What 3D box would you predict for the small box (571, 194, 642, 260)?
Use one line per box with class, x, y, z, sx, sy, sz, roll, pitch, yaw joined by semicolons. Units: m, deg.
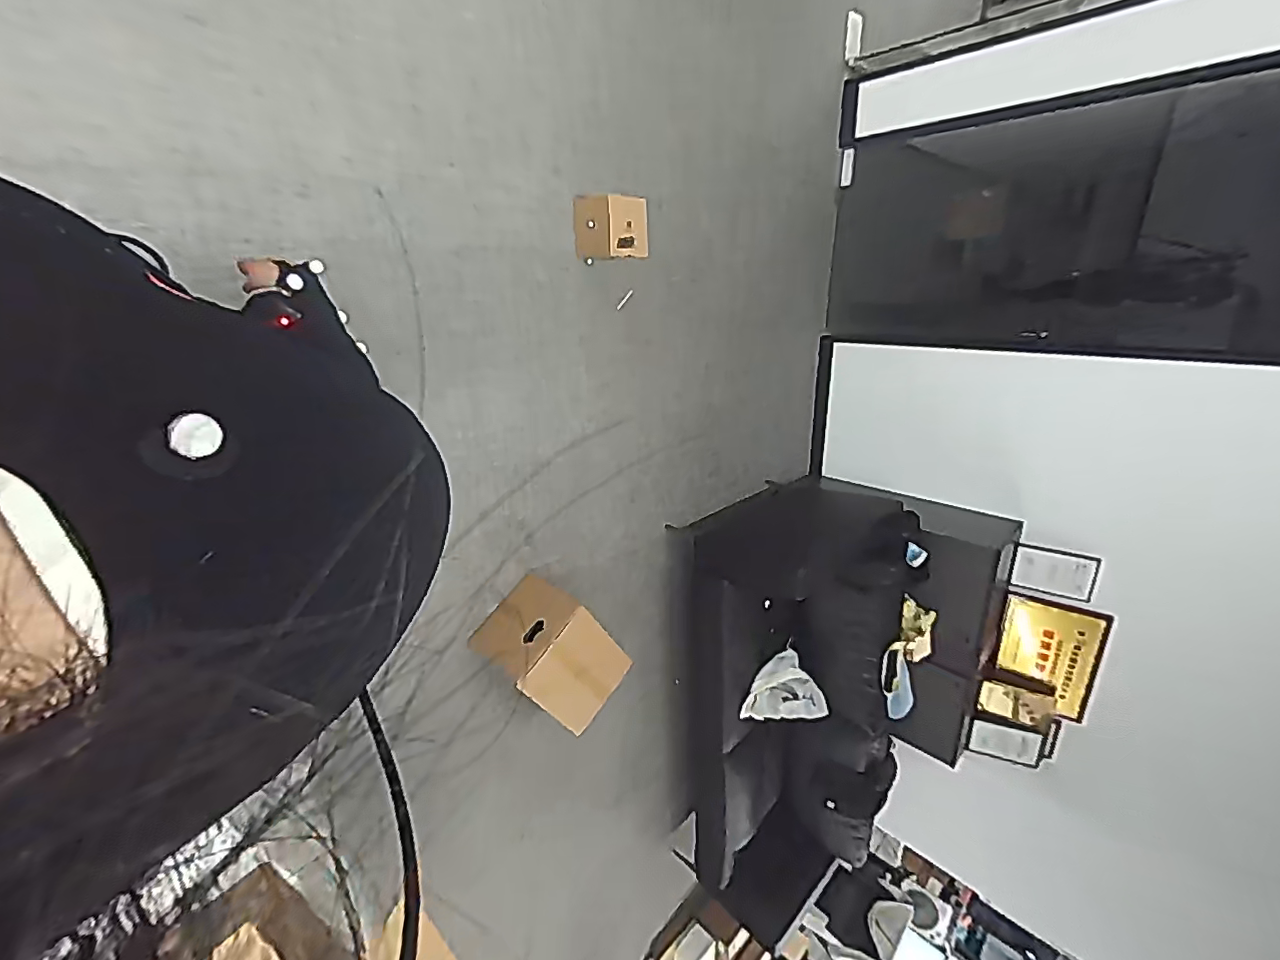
small box;-0.111;-0.813;1.755;0.168;0.176;0.179;-18;116;-42
